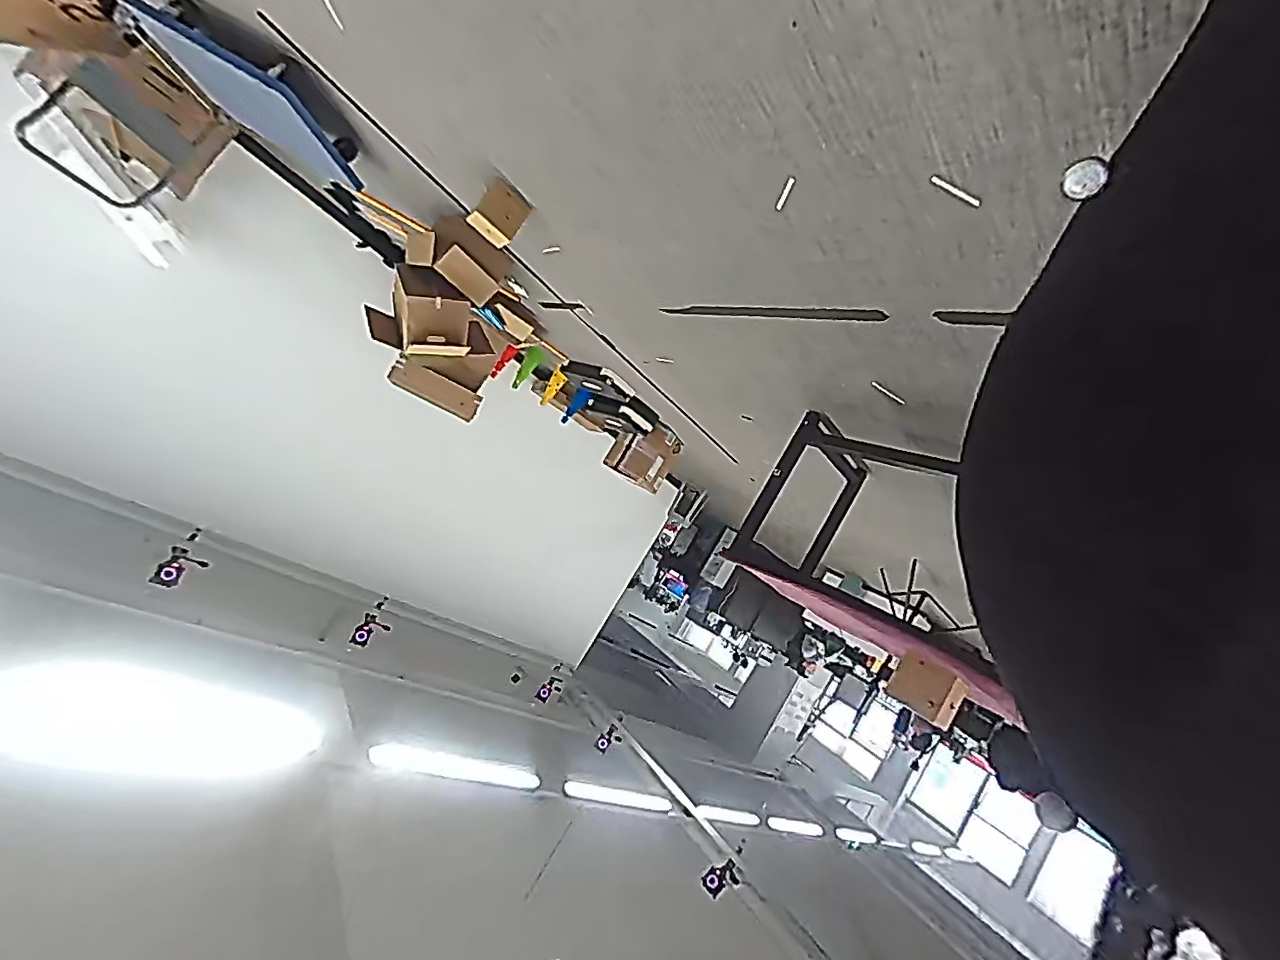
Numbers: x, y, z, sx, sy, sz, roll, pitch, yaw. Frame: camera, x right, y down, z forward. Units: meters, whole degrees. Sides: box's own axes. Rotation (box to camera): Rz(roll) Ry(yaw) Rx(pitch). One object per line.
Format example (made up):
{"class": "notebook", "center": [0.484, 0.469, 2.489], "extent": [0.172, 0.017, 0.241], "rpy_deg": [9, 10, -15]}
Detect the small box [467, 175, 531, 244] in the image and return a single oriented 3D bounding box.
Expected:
{"class": "small box", "center": [-0.560, -1.083, 2.165], "extent": [0.168, 0.176, 0.179], "rpy_deg": [35, 174, -31]}
